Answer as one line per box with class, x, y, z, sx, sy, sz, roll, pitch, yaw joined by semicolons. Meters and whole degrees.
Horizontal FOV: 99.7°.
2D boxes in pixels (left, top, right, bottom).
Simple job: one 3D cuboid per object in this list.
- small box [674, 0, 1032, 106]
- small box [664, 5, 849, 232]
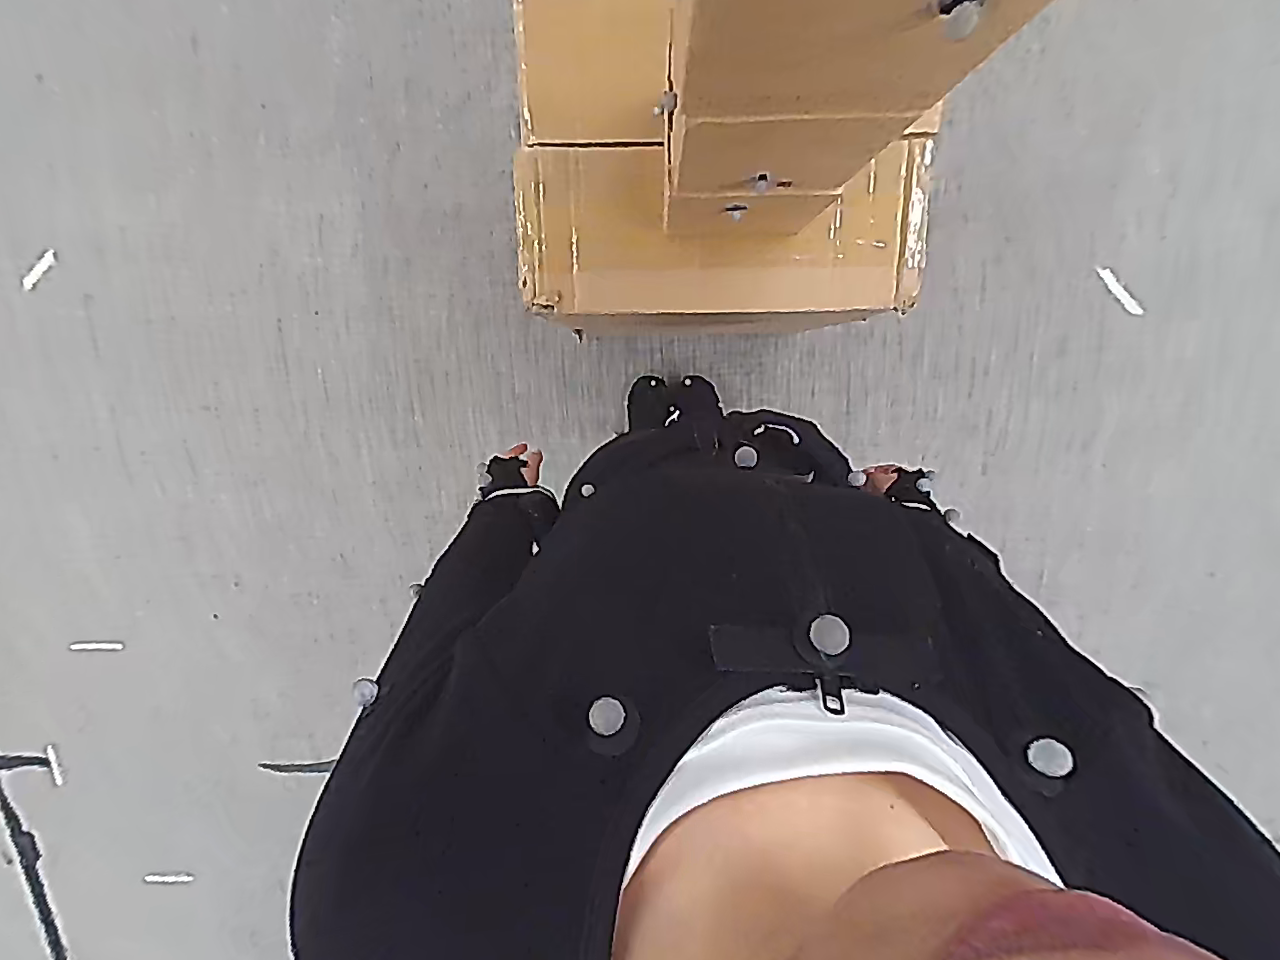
small box;0.110;-0.317;0.273;0.179;0.176;0.168;0;102;1
small box;0.116;-0.380;0.596;0.179;0.176;0.168;0;102;1
